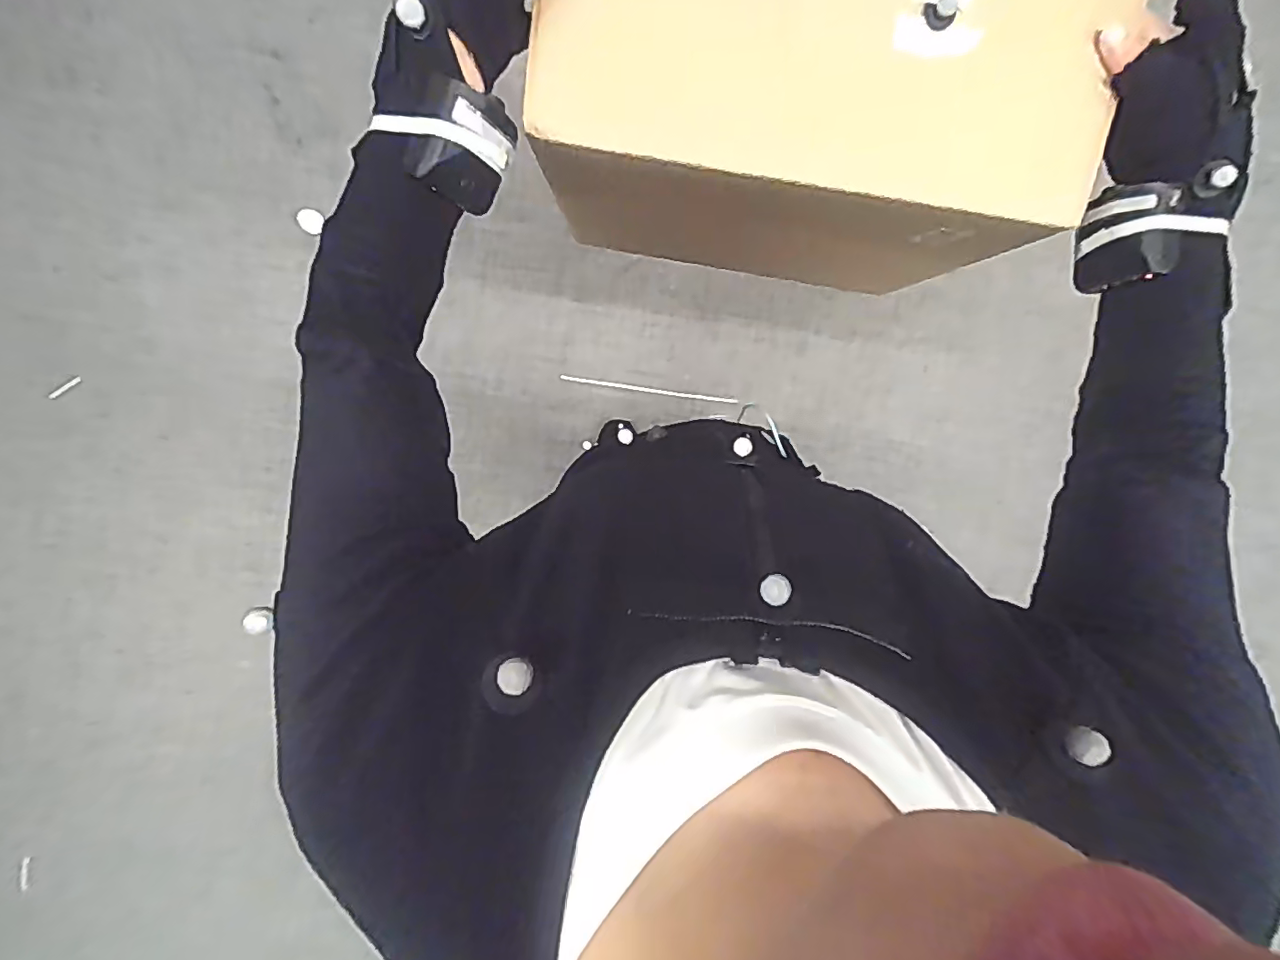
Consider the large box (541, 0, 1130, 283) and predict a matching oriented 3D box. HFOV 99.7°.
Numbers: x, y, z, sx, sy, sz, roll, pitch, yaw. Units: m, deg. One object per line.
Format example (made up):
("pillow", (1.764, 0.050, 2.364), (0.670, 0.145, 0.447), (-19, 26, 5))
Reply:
("large box", (0.139, -0.397, 0.511), (0.408, 0.320, 0.320), (8, 101, -3))
